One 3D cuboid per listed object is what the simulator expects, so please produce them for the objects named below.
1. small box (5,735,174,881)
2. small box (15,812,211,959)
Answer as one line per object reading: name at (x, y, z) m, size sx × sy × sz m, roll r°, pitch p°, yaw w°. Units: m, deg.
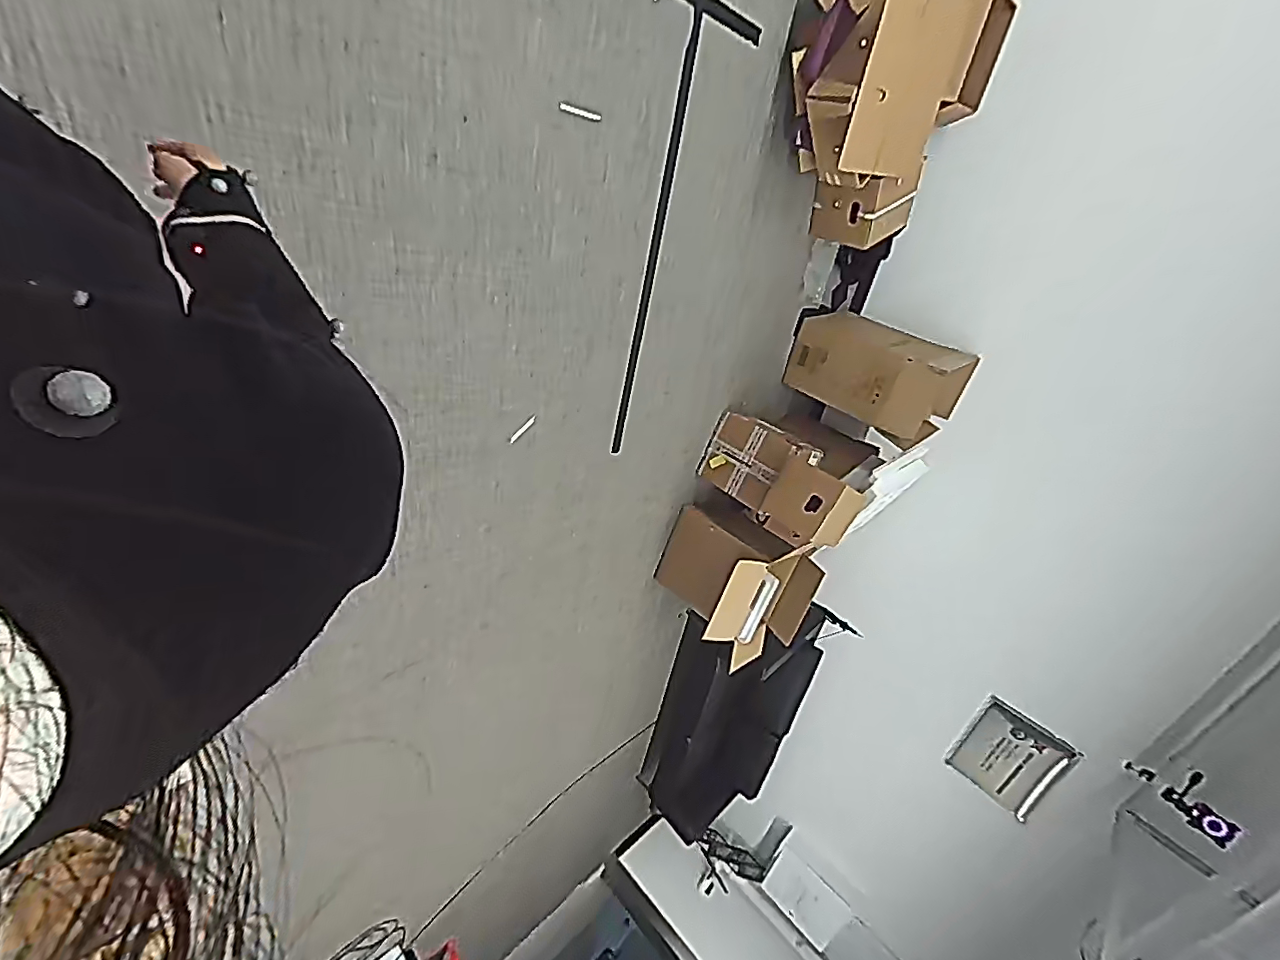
small box at (-0.846, 0.534, 0.843) m, size 0.168 × 0.176 × 0.179 m, roll -13°, pitch 128°, yaw -46°
small box at (-0.730, 0.610, 0.756) m, size 0.168 × 0.176 × 0.179 m, roll -14°, pitch 129°, yaw -45°
